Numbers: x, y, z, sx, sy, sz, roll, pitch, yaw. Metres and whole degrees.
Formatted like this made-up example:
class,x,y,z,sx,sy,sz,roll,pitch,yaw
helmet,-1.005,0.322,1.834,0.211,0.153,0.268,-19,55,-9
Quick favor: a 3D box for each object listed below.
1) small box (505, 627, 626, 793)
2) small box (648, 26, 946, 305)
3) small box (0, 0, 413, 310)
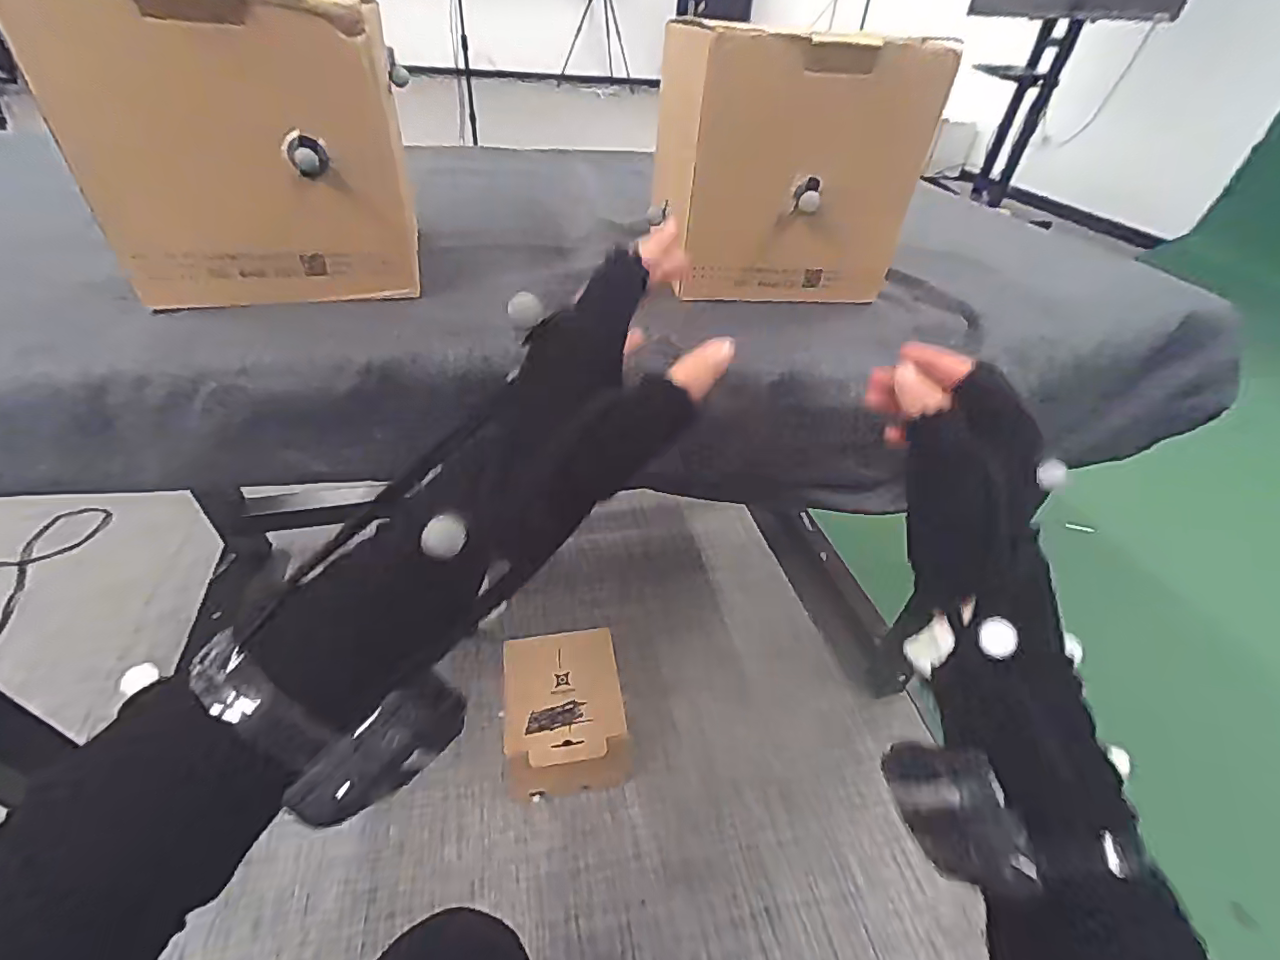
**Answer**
class,x,y,z,sx,sy,sz,roll,pitch,yaw
small box,-0.114,0.356,0.831,0.168,0.176,0.179,-5,41,-10
small box,0.100,-0.255,0.443,0.168,0.176,0.179,-2,42,-7
small box,-0.260,-0.227,0.379,0.168,0.176,0.179,-8,40,-17
